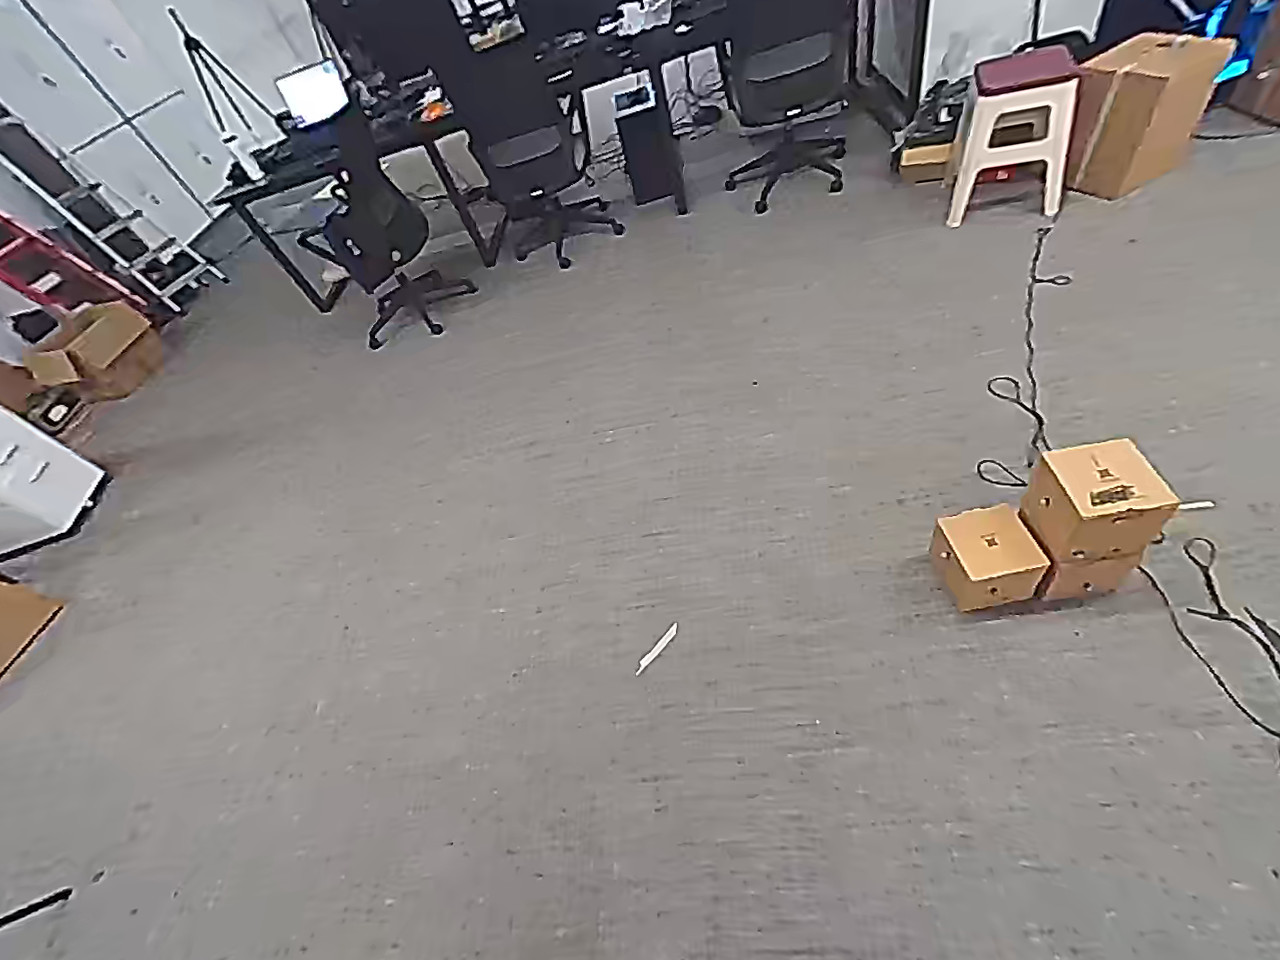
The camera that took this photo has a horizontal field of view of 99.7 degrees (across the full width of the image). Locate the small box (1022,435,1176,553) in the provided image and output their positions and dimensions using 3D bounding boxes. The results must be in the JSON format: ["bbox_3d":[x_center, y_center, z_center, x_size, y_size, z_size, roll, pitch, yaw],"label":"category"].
[{"bbox_3d":[0.938,0.038,1.126,0.168,0.176,0.179,-10,49,12],"label":"small box"}]
